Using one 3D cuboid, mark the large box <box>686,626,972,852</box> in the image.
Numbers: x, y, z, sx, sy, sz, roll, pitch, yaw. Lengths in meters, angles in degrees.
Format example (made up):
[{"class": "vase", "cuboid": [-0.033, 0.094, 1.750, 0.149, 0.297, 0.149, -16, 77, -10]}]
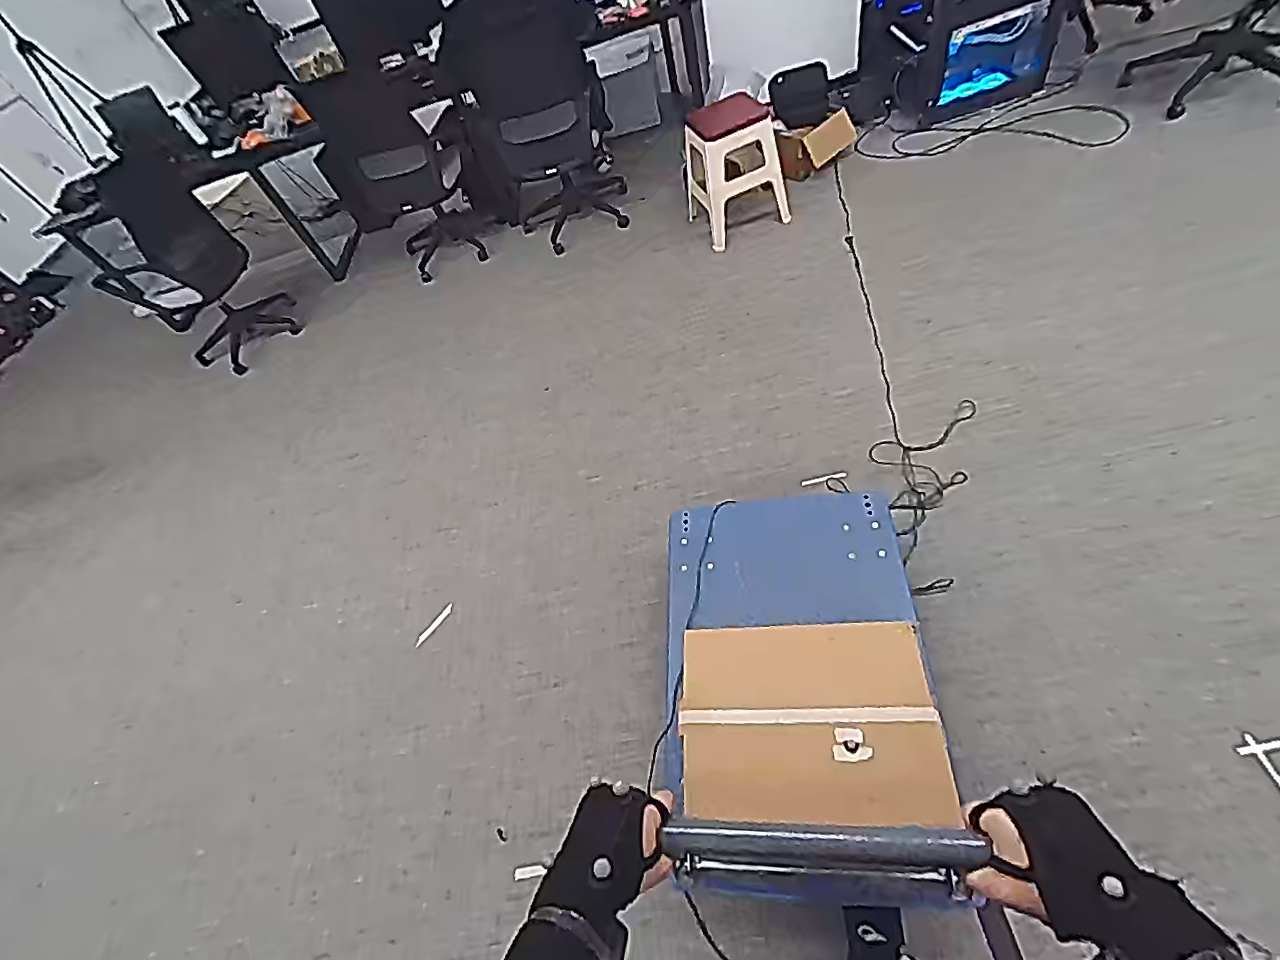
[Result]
[{"class": "large box", "cuboid": [0.306, 0.482, 0.988, 0.408, 0.320, 0.320, -6, 53, 12]}]
